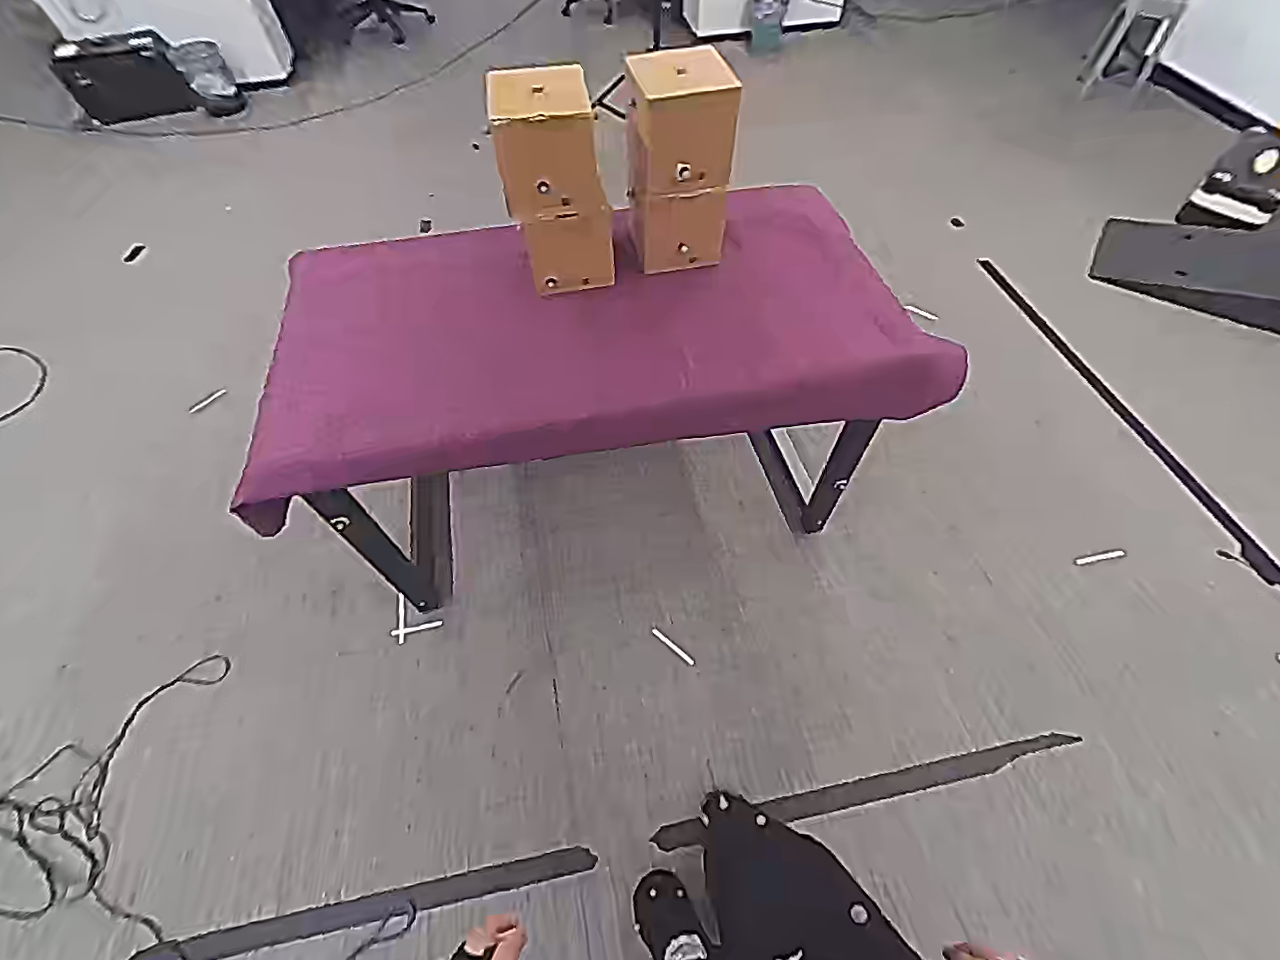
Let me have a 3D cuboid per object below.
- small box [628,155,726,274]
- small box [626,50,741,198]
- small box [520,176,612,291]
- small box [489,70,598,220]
[{"bbox_3d":[0.069,-0.563,1.134,0.168,0.176,0.179,-11,58,-5],"label":"small box"},{"bbox_3d":[0.071,-0.656,1.001,0.168,0.176,0.179,-13,59,-6],"label":"small box"},{"bbox_3d":[-0.153,-0.504,1.100,0.168,0.176,0.179,-10,57,-6],"label":"small box"},{"bbox_3d":[-0.169,-0.594,0.965,0.168,0.176,0.179,-8,59,-5],"label":"small box"}]
